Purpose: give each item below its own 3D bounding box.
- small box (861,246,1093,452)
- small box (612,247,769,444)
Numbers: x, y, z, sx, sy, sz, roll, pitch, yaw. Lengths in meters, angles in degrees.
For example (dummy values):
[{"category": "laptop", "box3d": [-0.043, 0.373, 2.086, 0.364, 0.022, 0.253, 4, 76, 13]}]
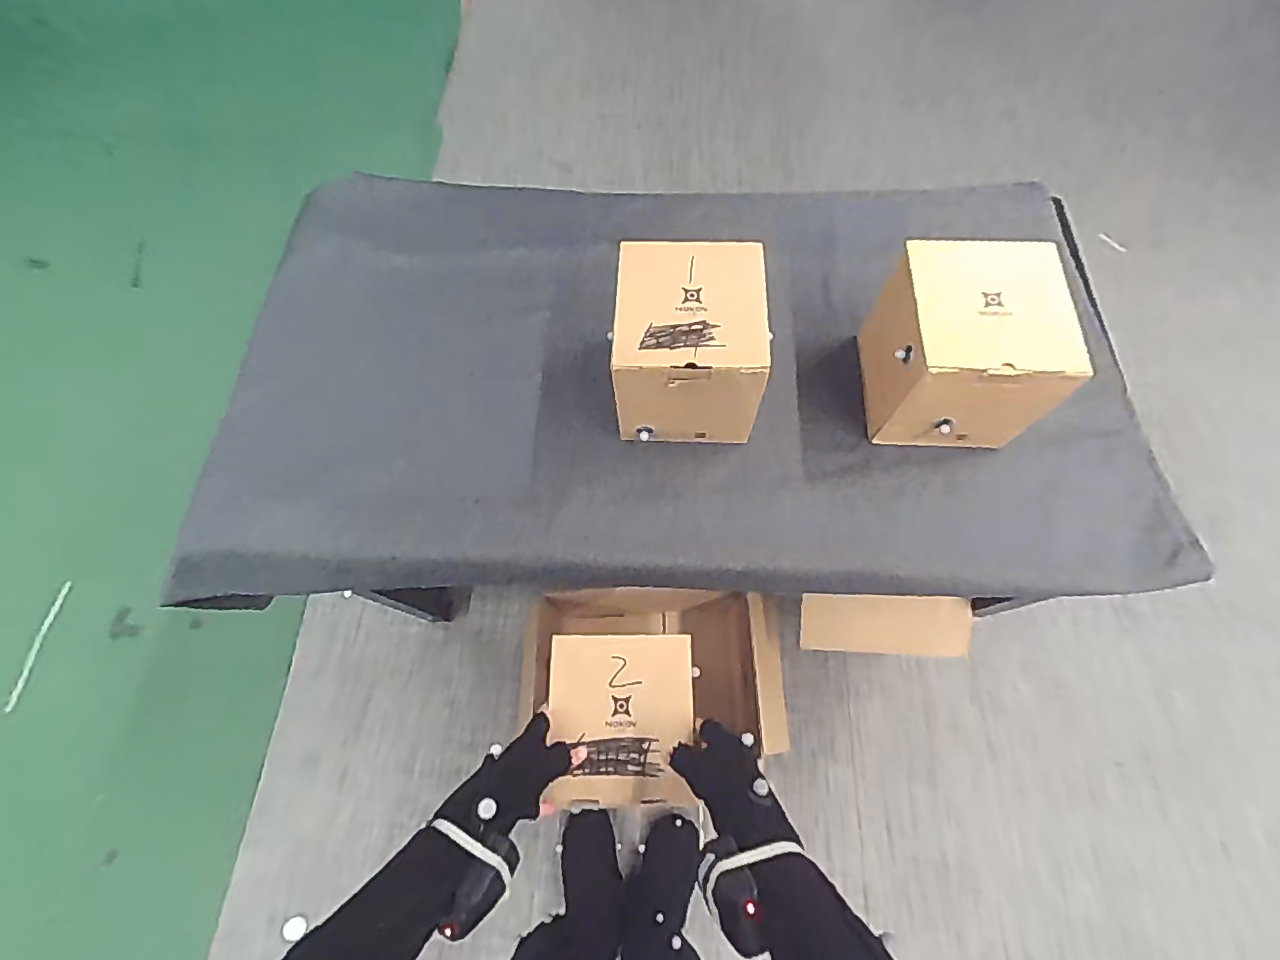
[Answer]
[{"category": "small box", "box3d": [0.380, -0.151, 0.650, 0.168, 0.176, 0.179, 2, 68, 3]}, {"category": "small box", "box3d": [0.060, -0.156, 0.661, 0.168, 0.176, 0.179, 2, 66, 2]}]
